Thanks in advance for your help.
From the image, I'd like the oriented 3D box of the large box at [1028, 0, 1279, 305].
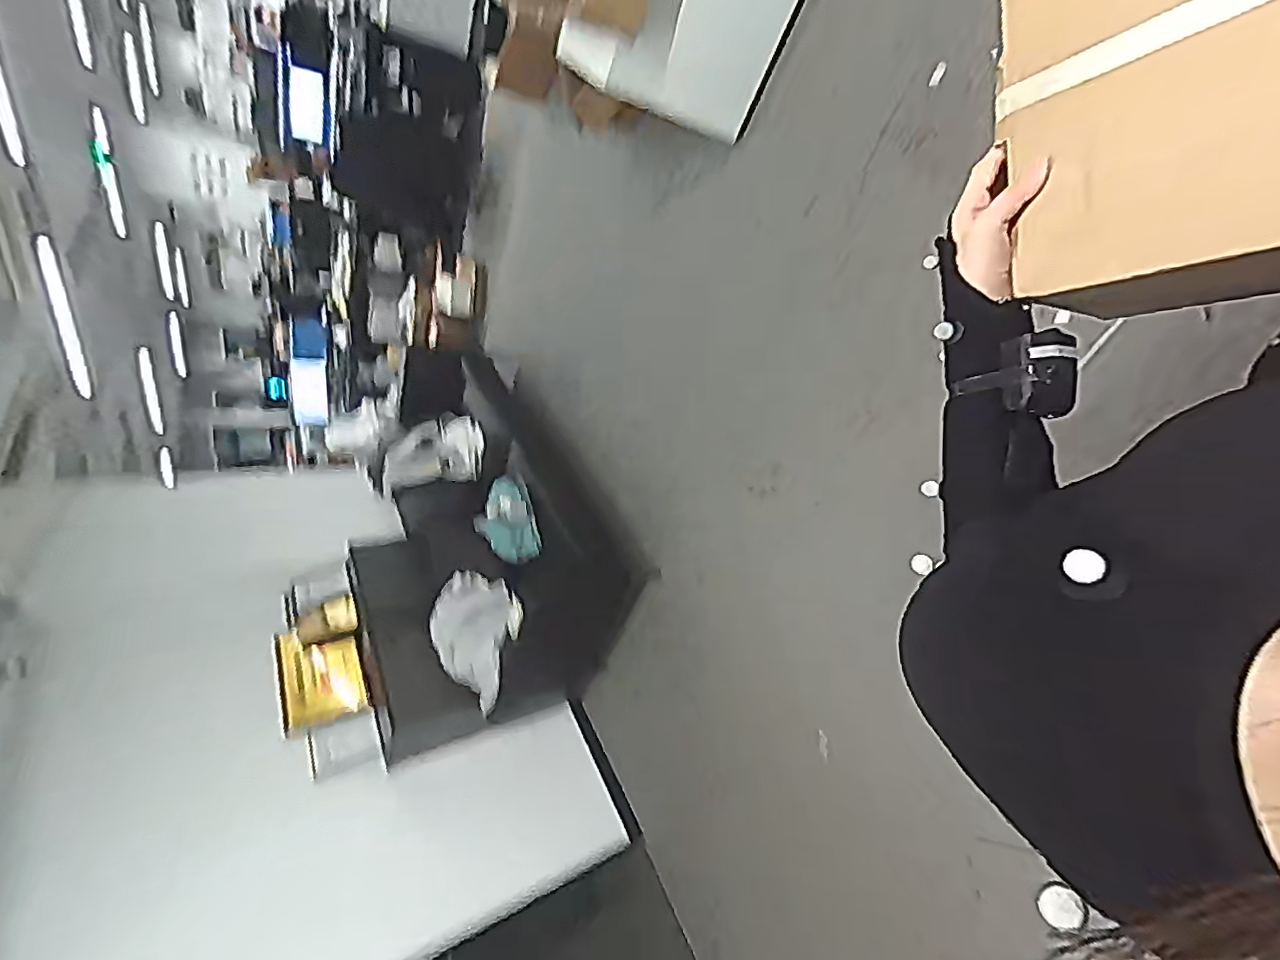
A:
[{"bbox_3d":[0.547,-0.332,0.371,0.408,0.320,0.320,2,100,50],"label":"large box"}]
